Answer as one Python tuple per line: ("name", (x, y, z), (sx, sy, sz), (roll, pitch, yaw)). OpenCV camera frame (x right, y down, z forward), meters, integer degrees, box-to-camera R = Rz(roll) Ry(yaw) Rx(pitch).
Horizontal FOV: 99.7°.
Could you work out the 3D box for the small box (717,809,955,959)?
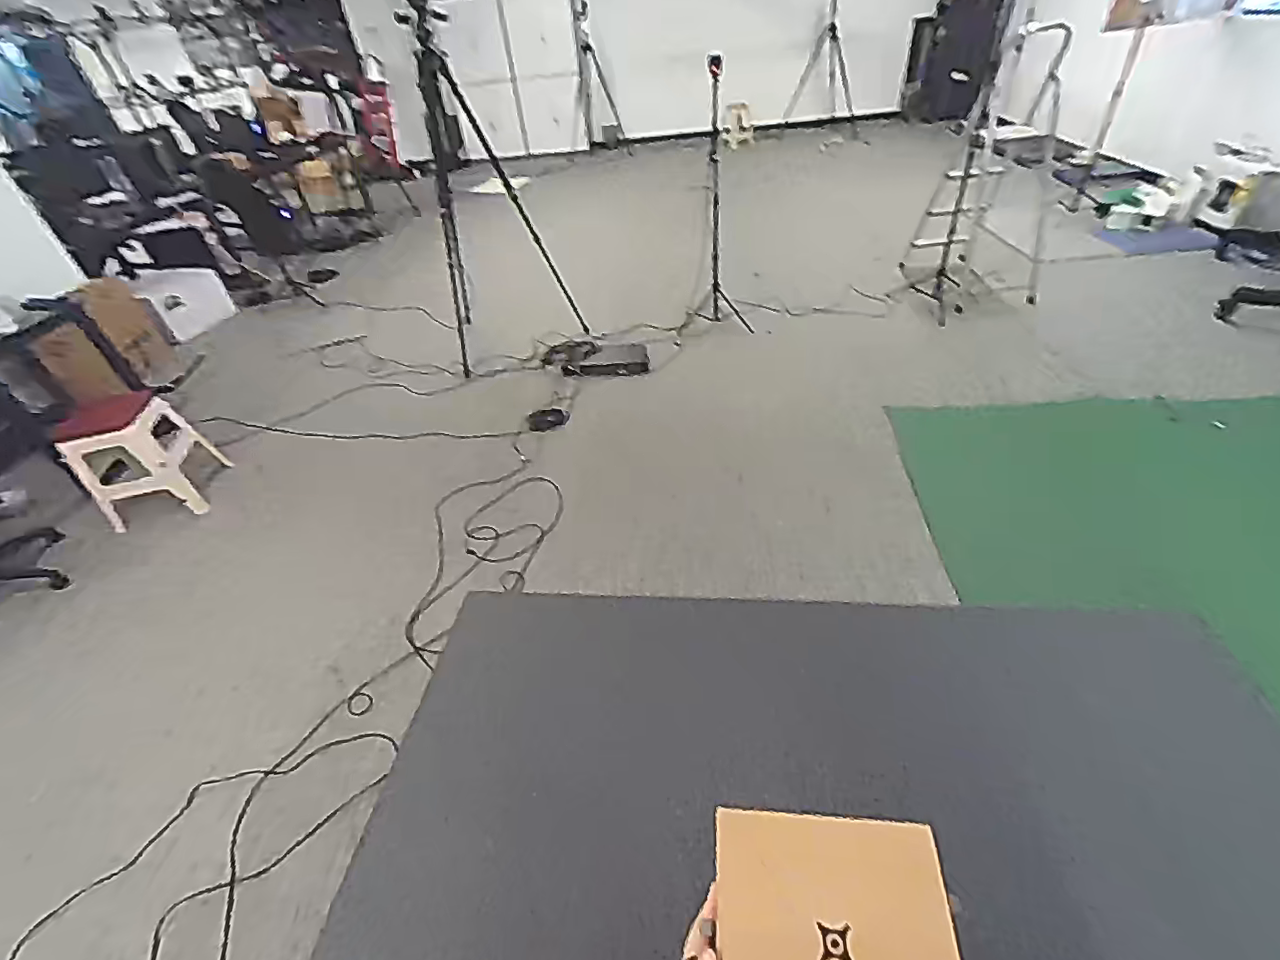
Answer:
("small box", (0.147, 0.393, 0.437), (0.168, 0.176, 0.179), (-1, 47, 10))
